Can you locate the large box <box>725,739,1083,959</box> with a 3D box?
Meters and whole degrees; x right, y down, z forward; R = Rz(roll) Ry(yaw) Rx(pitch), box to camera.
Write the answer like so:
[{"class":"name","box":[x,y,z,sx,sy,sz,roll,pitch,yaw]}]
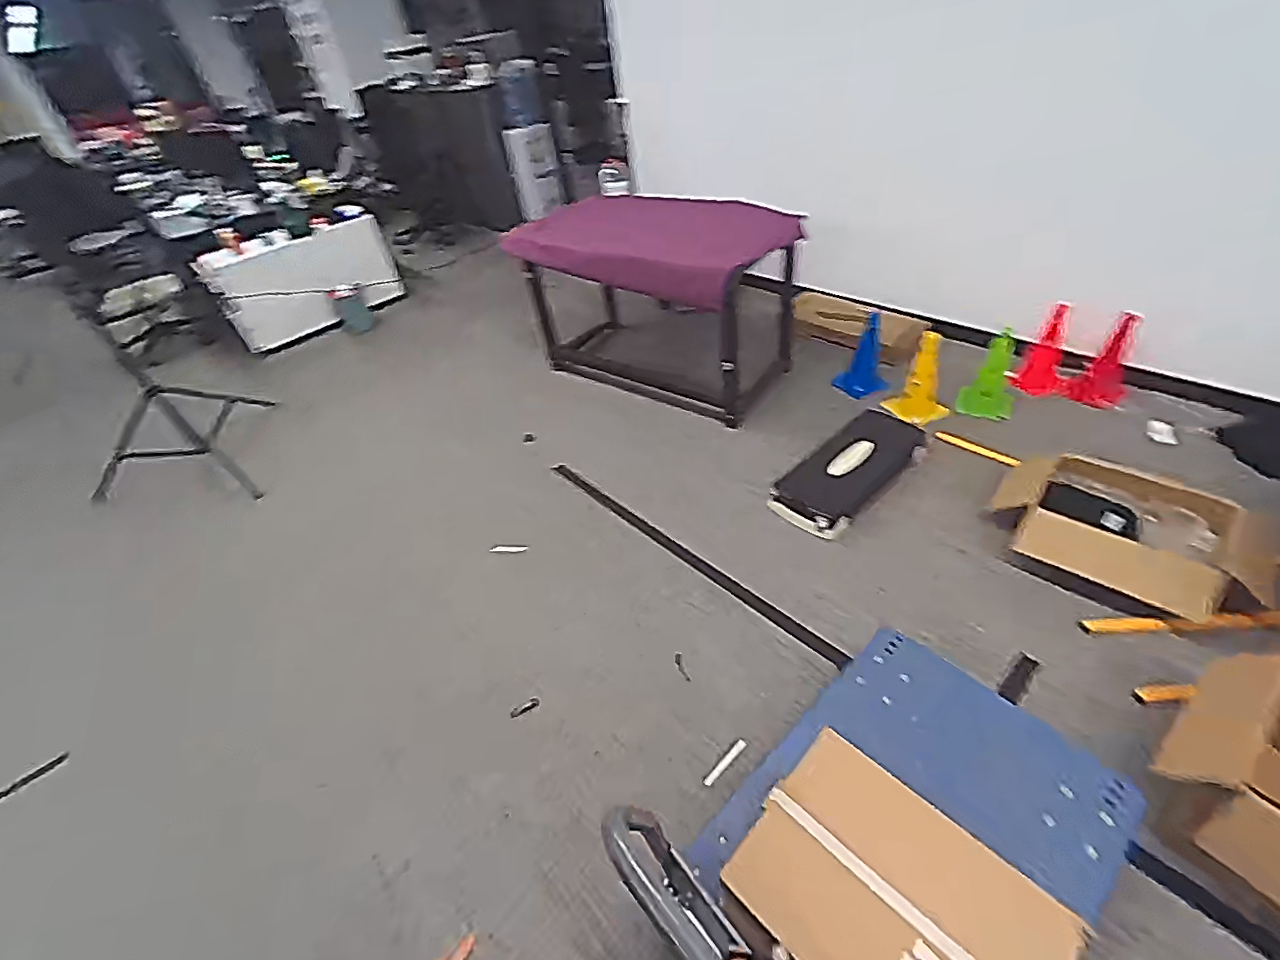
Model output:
[{"class":"large box","box":[0.389,0.735,0.895,0.320,0.320,0.408,-37,50,-27]}]
